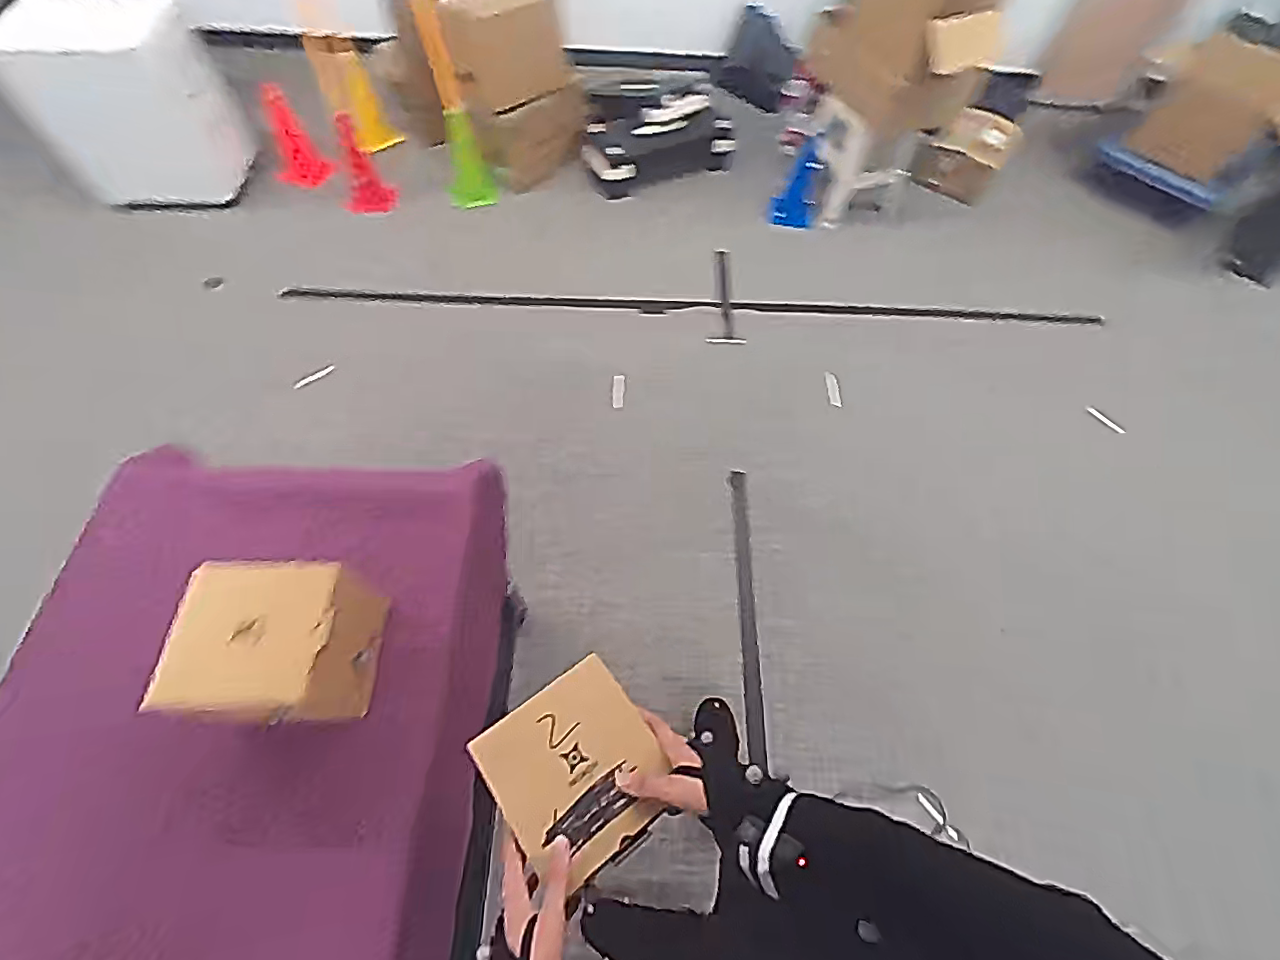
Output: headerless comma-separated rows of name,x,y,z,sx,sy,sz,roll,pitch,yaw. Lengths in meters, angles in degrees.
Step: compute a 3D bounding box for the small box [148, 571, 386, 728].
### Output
small box,-0.466,0.228,0.710,0.179,0.176,0.168,-1,60,-3
